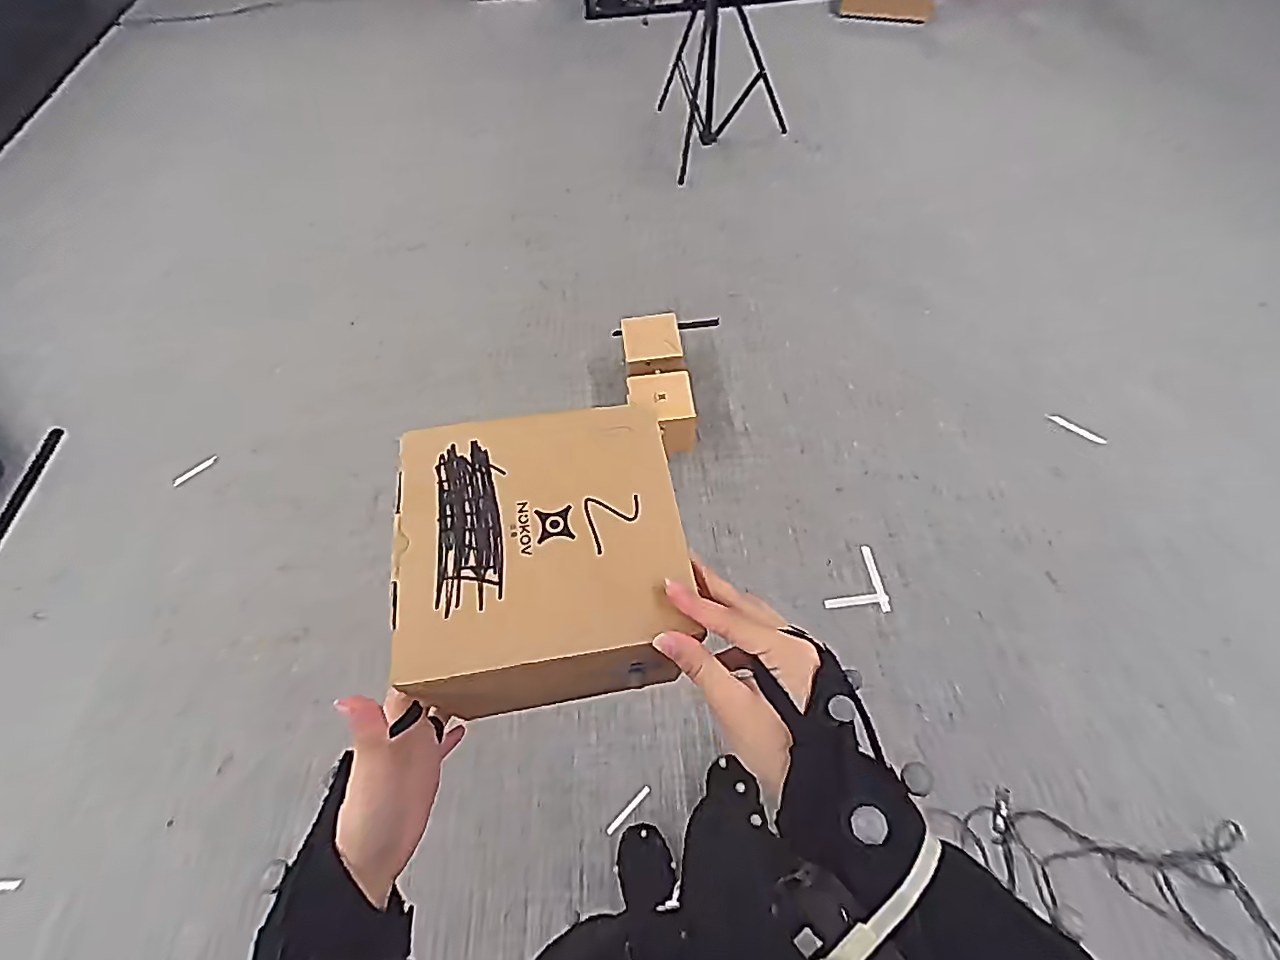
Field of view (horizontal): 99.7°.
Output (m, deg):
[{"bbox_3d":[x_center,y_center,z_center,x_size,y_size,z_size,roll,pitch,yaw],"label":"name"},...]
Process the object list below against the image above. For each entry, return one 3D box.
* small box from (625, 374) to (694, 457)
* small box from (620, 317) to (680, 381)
[{"bbox_3d":[0.054,-0.182,1.559,0.179,0.176,0.168,-6,60,0],"label":"small box"},{"bbox_3d":[0.030,-0.377,1.666,0.168,0.176,0.179,-8,60,-1],"label":"small box"}]
